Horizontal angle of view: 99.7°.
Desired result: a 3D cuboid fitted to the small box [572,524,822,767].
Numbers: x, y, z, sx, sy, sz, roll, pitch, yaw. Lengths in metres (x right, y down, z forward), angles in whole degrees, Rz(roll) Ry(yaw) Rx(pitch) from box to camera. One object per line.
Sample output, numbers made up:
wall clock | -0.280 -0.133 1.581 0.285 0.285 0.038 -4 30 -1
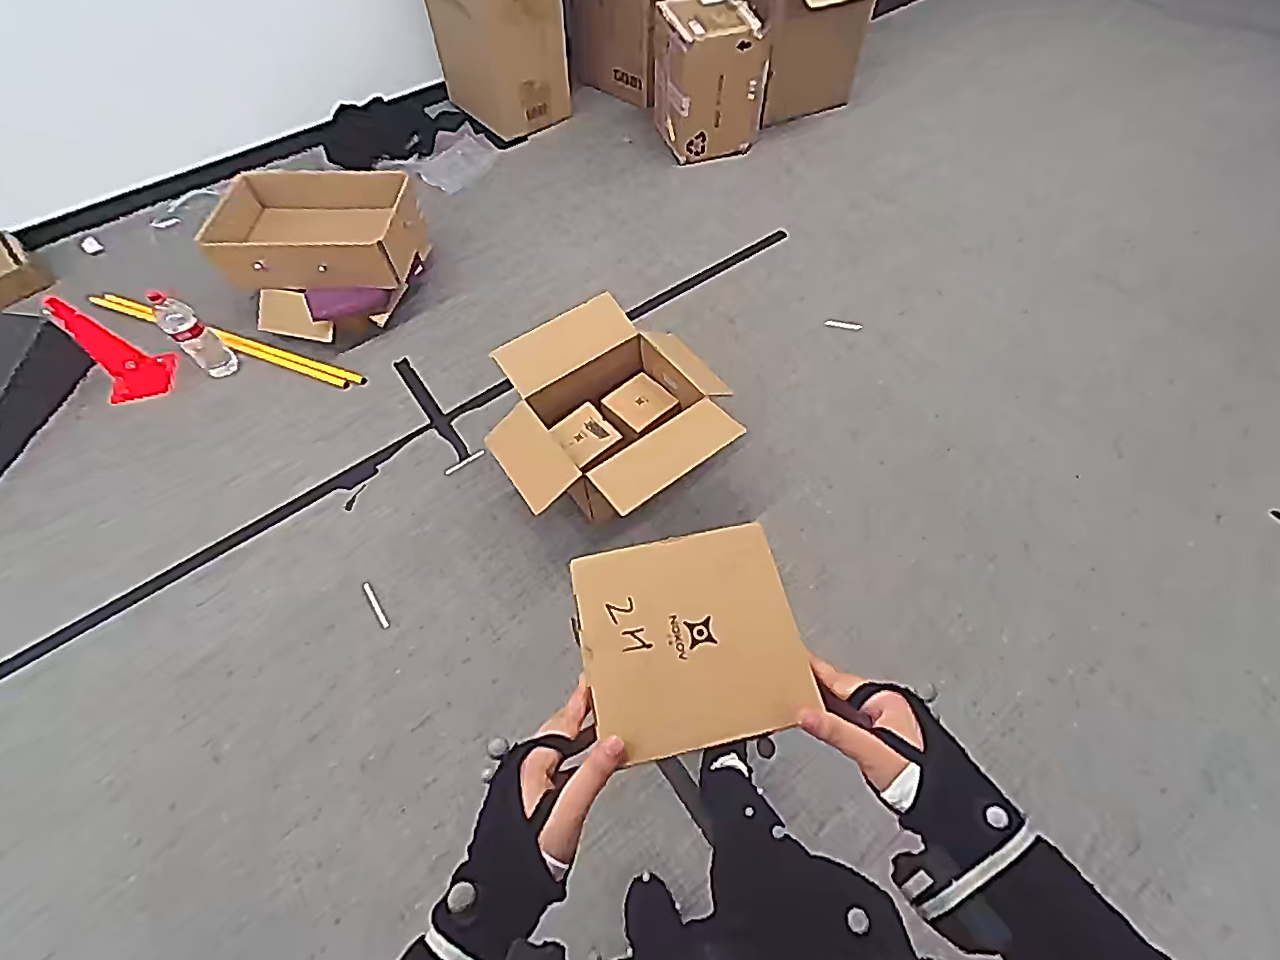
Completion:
small box | 0.040 0.160 0.511 0.179 0.176 0.168 -11 63 -5
